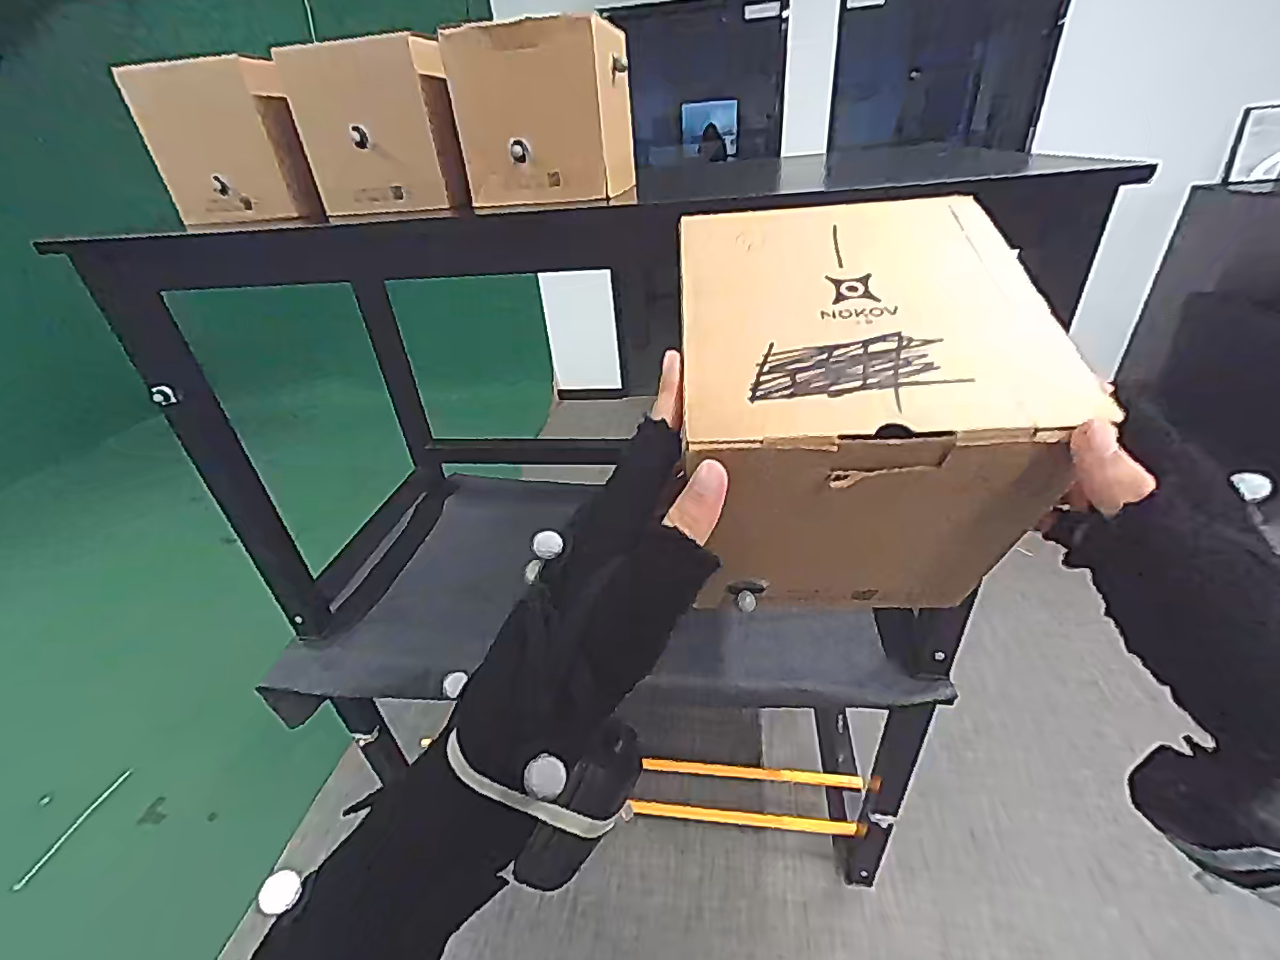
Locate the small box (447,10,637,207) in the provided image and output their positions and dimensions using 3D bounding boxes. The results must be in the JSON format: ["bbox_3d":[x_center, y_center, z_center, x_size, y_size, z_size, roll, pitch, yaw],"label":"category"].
[{"bbox_3d":[-0.098,-0.426,0.641,0.168,0.176,0.179,2,33,10],"label":"small box"}]
